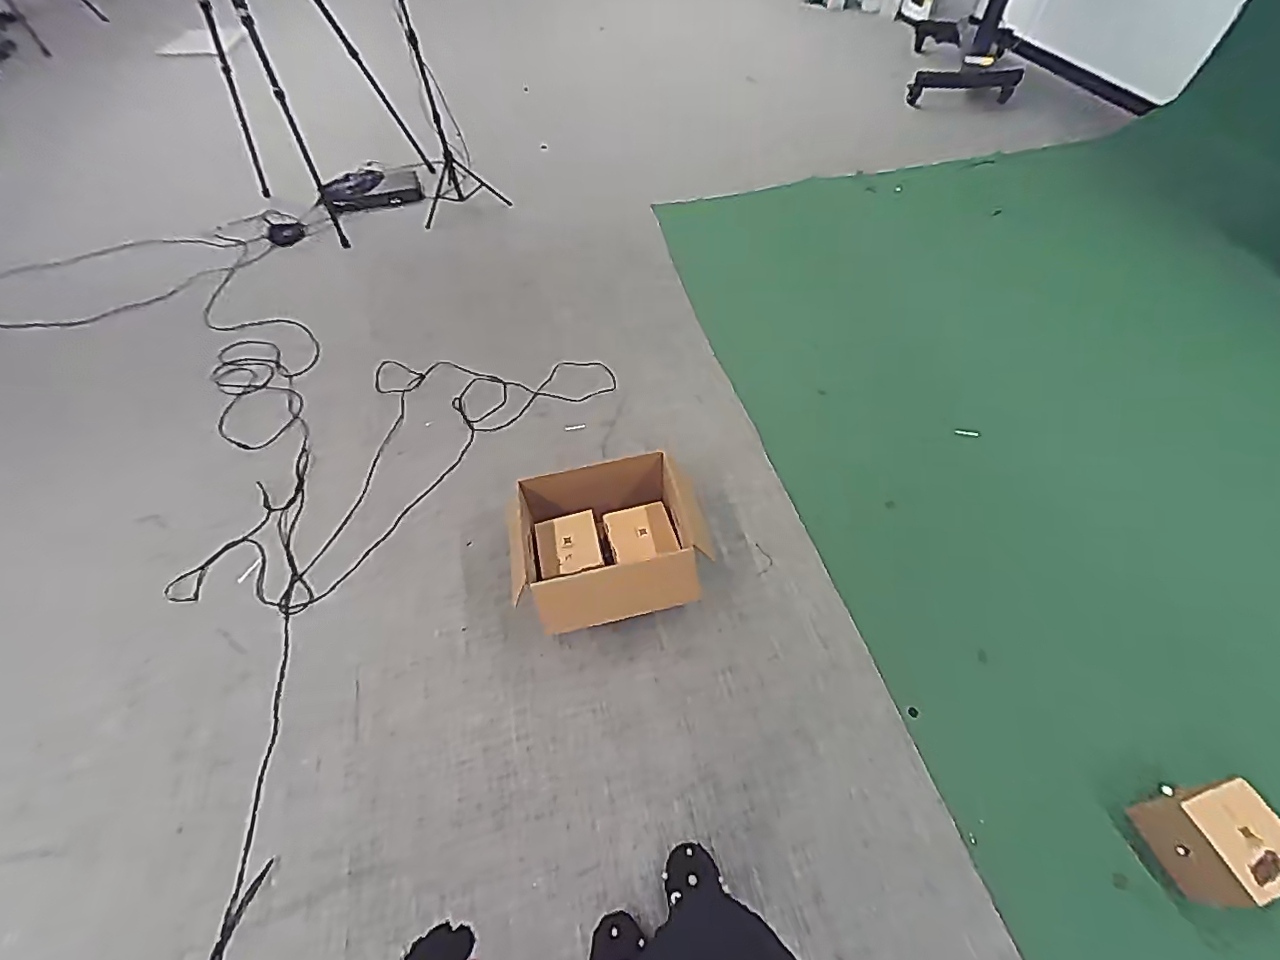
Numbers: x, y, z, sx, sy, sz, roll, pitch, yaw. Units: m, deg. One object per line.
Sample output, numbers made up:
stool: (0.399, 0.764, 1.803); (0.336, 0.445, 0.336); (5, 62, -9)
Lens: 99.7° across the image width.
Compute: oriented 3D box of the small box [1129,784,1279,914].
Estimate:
small box: (1.189, 0.753, 1.111); (0.168, 0.176, 0.179); (-15, 54, -9)
